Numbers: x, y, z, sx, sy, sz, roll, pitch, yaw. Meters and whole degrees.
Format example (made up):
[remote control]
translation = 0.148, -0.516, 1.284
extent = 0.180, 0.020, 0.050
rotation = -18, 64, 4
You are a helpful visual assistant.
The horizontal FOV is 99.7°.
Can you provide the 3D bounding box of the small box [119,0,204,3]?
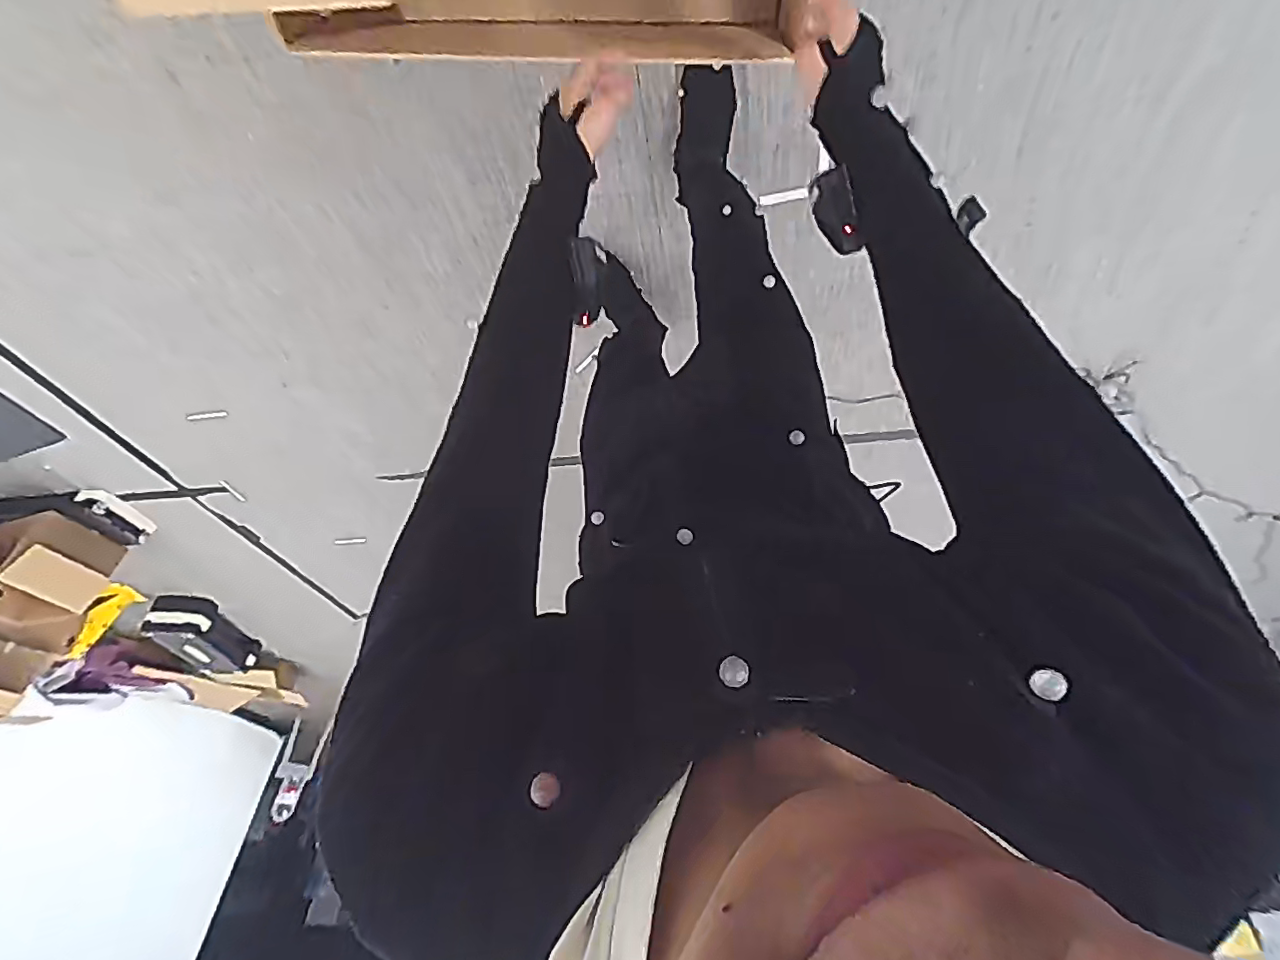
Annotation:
[small box]
translation = -0.230, -0.399, 0.305
extent = 0.168, 0.176, 0.179
rotation = 0, 139, 2
